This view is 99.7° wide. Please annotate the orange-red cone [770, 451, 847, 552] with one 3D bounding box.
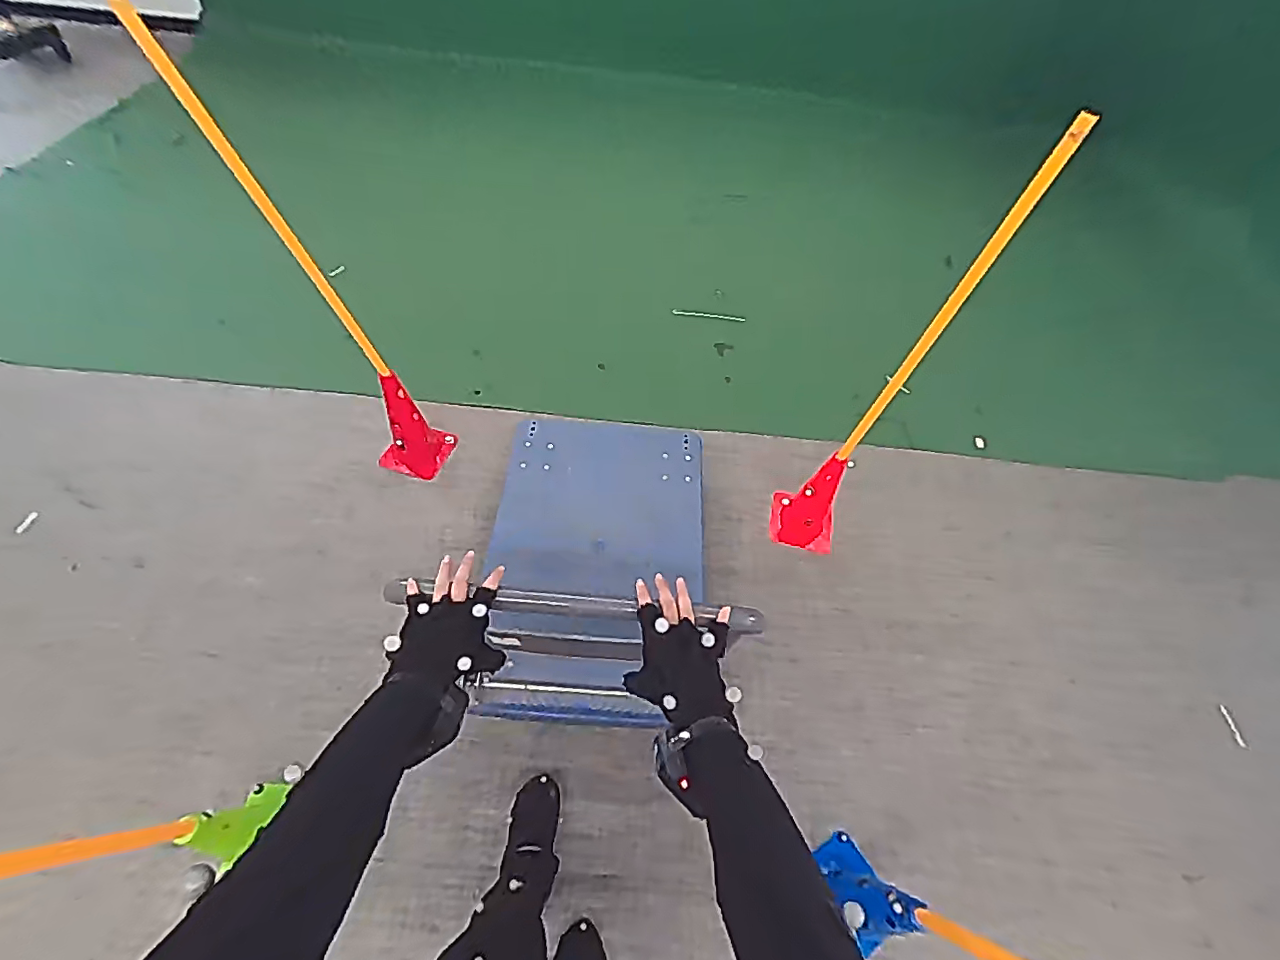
[{"bbox_3d":[0.540,0.036,1.624,0.198,0.360,0.199,15,56,6],"label":"orange-red cone"}]
